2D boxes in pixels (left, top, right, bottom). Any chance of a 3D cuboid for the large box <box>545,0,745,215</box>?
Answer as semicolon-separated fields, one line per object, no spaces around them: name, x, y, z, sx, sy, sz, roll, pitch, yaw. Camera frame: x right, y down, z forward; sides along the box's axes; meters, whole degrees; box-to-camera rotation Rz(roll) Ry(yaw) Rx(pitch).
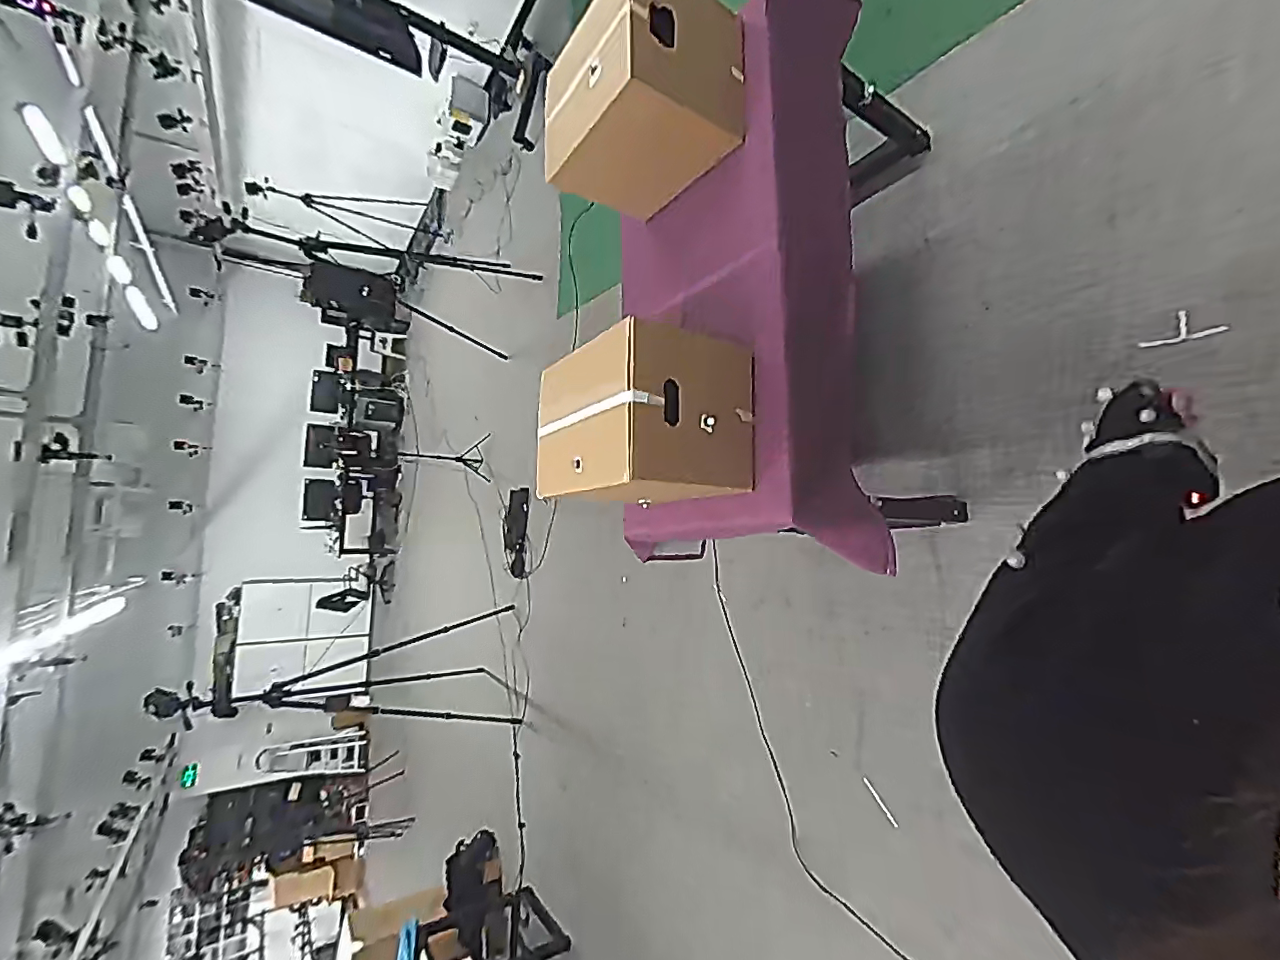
large box;0.003;-0.924;1.306;0.408;0.320;0.320;-7;81;53
